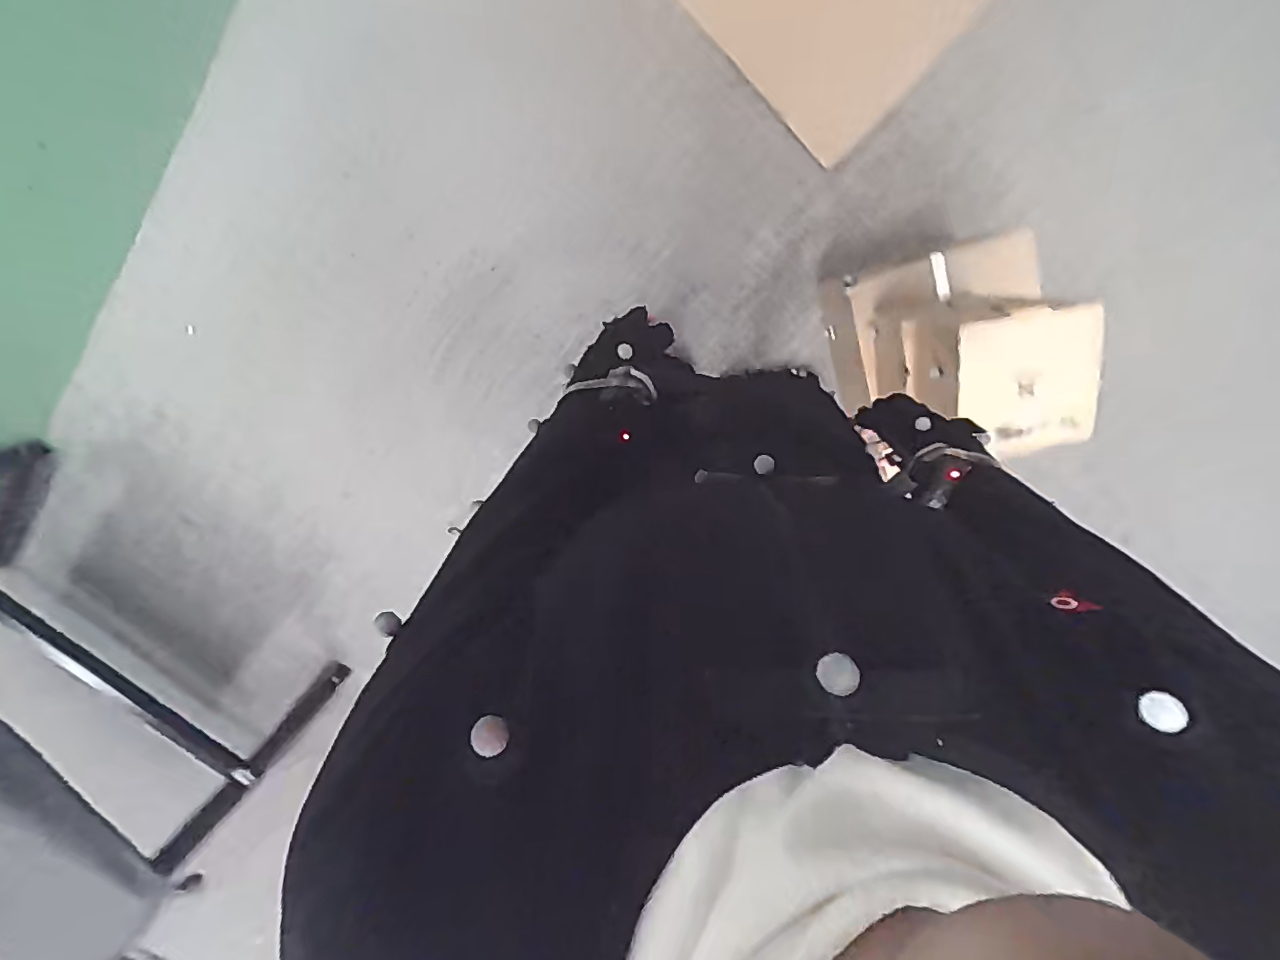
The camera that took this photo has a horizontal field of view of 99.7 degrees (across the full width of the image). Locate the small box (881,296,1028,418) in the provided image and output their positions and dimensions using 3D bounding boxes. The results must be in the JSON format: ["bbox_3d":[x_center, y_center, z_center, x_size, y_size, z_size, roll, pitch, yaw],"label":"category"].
[{"bbox_3d":[0.519,-0.211,0.917,0.179,0.176,0.168,-8,108,11],"label":"small box"}]

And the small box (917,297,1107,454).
[{"bbox_3d":[0.510,-0.154,0.766,0.168,0.176,0.179,-10,109,10],"label":"small box"}]
